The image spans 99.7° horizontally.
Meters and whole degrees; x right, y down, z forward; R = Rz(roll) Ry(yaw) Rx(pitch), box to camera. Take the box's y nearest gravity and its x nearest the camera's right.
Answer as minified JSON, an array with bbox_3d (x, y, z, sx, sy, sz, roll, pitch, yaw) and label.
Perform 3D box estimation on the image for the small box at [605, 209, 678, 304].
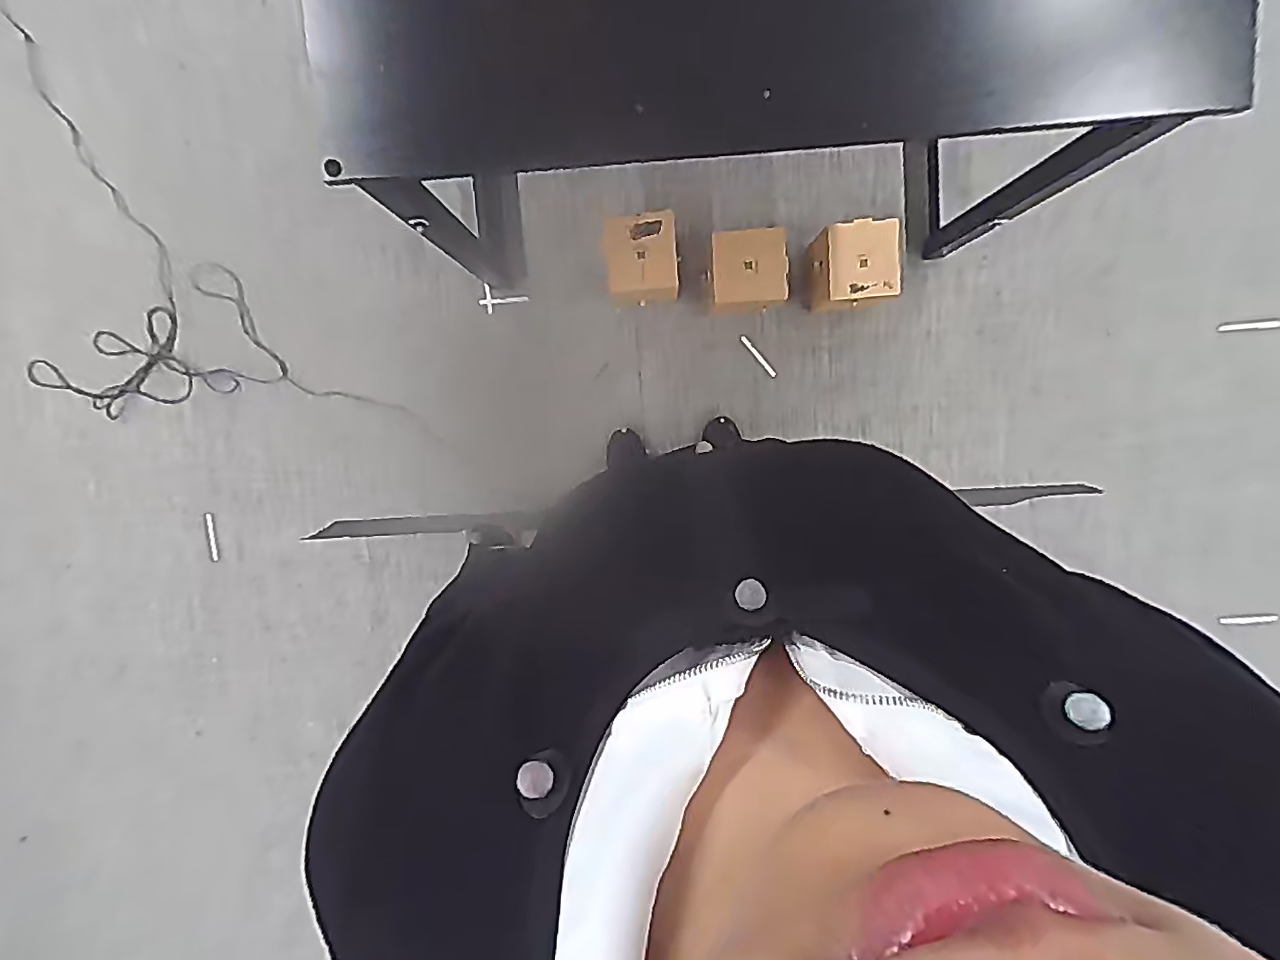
[{"bbox_3d":[0.004,-0.552,1.353,0.168,0.176,0.179,-4,98,3],"label":"small box"}]

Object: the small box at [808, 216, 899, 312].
[{"bbox_3d":[0.522,-0.527,1.339,0.168,0.176,0.179,-4,96,3],"label":"small box"}]

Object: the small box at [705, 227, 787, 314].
[{"bbox_3d":[0.260,-0.517,1.351,0.179,0.176,0.168,-3,97,3],"label":"small box"}]
